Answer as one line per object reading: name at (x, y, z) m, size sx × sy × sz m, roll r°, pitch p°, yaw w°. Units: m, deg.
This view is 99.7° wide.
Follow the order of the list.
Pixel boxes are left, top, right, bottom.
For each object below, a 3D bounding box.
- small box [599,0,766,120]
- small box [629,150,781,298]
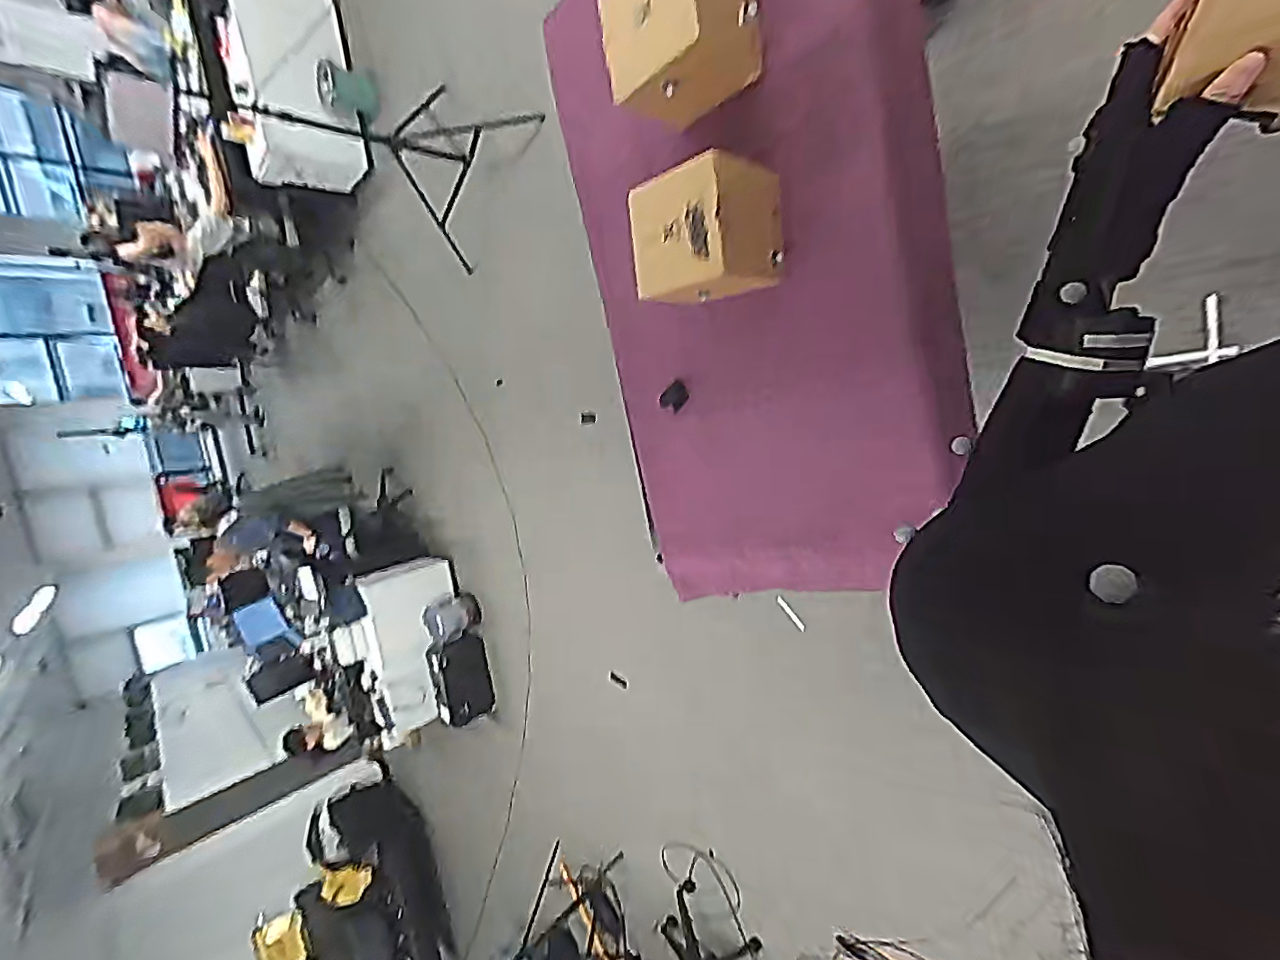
small box at (0.064, -0.686, 0.821) m, size 0.179 × 0.176 × 0.168 m, roll -3°, pitch 100°, yaw 46°
small box at (0.110, -0.389, 0.856) m, size 0.179 × 0.176 × 0.168 m, roll 4°, pitch 104°, yaw 47°
